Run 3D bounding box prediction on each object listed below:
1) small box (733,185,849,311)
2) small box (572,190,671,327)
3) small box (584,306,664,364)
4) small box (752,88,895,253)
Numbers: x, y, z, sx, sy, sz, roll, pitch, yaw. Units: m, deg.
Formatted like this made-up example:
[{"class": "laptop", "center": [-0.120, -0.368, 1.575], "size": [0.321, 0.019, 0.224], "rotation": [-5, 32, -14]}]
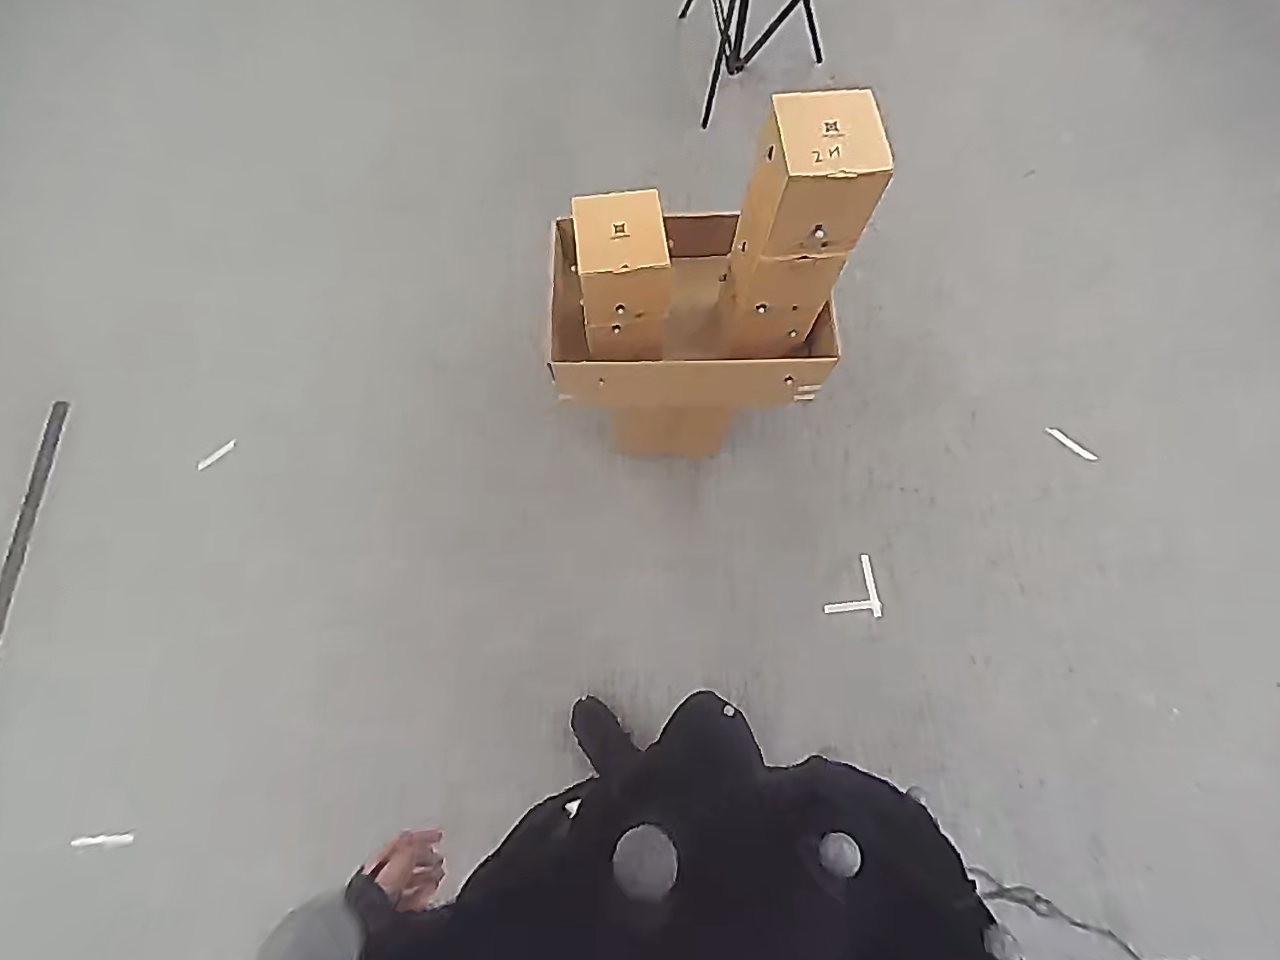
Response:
[{"class": "small box", "center": [0.285, -0.448, 1.057], "size": [0.168, 0.176, 0.179], "rotation": [-4, 72, -2]}, {"class": "small box", "center": [-0.037, -0.425, 1.052], "size": [0.168, 0.176, 0.179], "rotation": [-8, 74, -2]}, {"class": "small box", "center": [-0.038, -0.381, 1.209], "size": [0.168, 0.176, 0.179], "rotation": [-5, 72, -1]}, {"class": "small box", "center": [0.293, -0.511, 0.905], "size": [0.168, 0.176, 0.179], "rotation": [-5, 73, -2]}]
